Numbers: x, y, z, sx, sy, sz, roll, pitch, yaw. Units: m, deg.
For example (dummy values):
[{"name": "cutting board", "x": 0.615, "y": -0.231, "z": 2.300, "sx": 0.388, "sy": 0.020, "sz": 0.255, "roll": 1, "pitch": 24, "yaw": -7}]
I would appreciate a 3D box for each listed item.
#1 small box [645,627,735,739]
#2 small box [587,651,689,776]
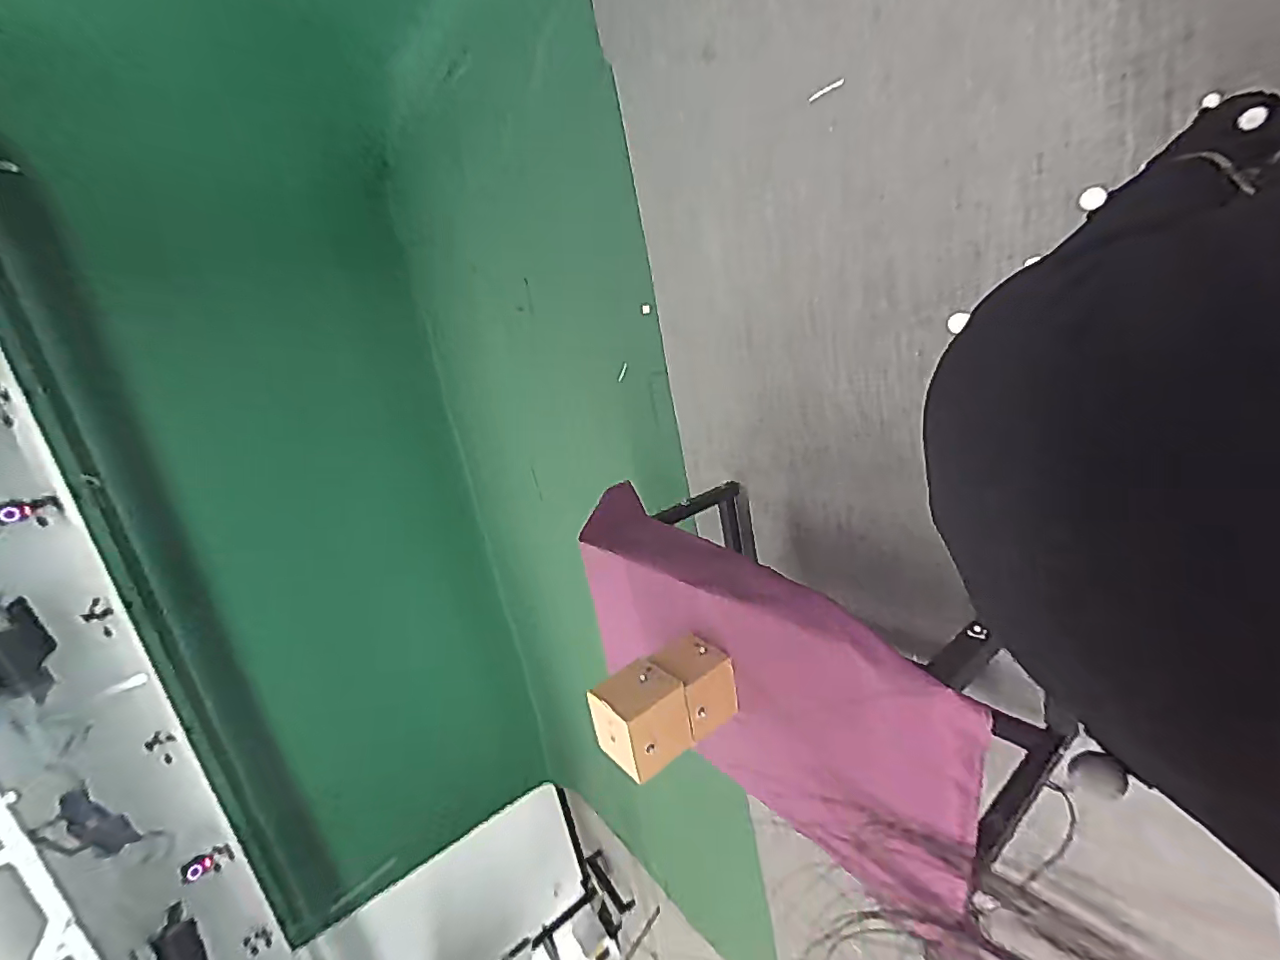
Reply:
[{"name": "small box", "x": 0.128, "y": 0.511, "z": 1.387, "sx": 0.168, "sy": 0.176, "sz": 0.179, "roll": 16, "pitch": 120, "yaw": 50}, {"name": "small box", "x": 0.000, "y": 0.546, "z": 1.289, "sx": 0.168, "sy": 0.176, "sz": 0.179, "roll": 13, "pitch": 118, "yaw": 51}]
